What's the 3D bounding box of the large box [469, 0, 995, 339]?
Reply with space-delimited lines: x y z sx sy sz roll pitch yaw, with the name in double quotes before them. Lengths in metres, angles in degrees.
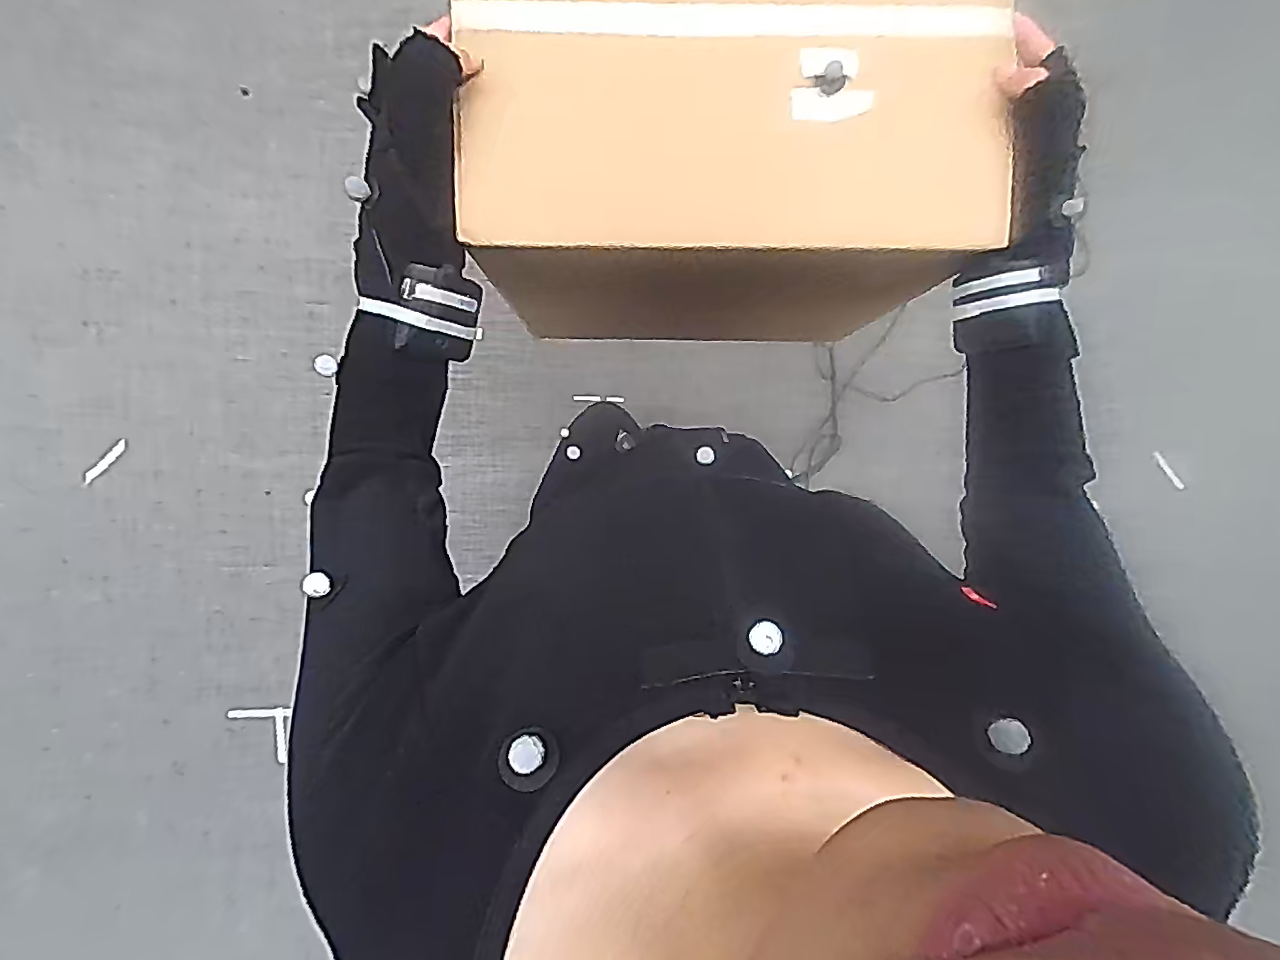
"large box" 0.065 -0.338 0.556 0.408 0.320 0.320 0 92 -2
